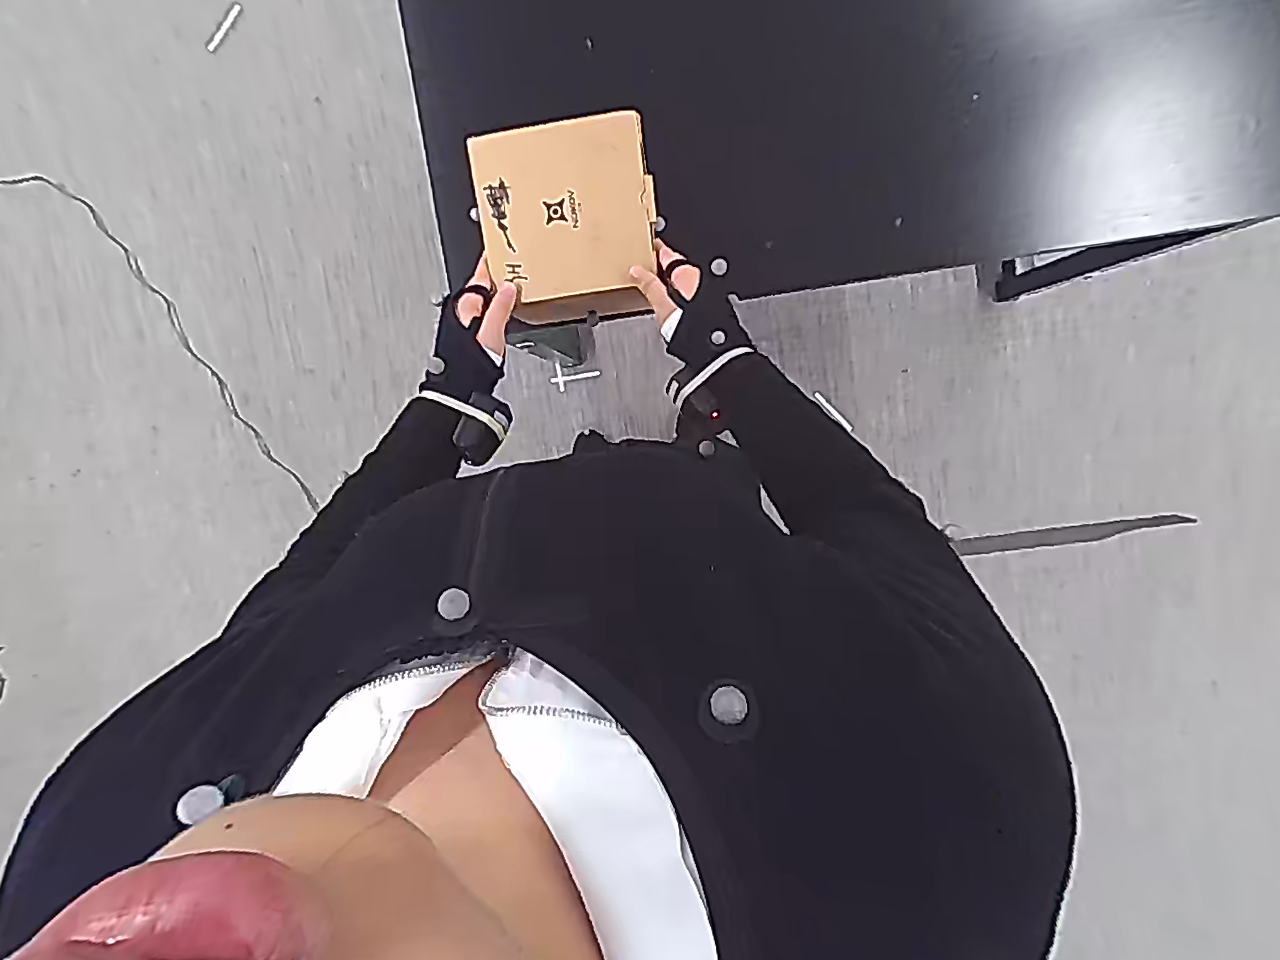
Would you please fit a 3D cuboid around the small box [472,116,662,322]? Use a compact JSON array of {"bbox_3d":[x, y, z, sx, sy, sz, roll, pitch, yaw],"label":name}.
[{"bbox_3d":[-0.073,-0.284,0.625,0.179,0.176,0.168,-7,99,2],"label":"small box"}]
